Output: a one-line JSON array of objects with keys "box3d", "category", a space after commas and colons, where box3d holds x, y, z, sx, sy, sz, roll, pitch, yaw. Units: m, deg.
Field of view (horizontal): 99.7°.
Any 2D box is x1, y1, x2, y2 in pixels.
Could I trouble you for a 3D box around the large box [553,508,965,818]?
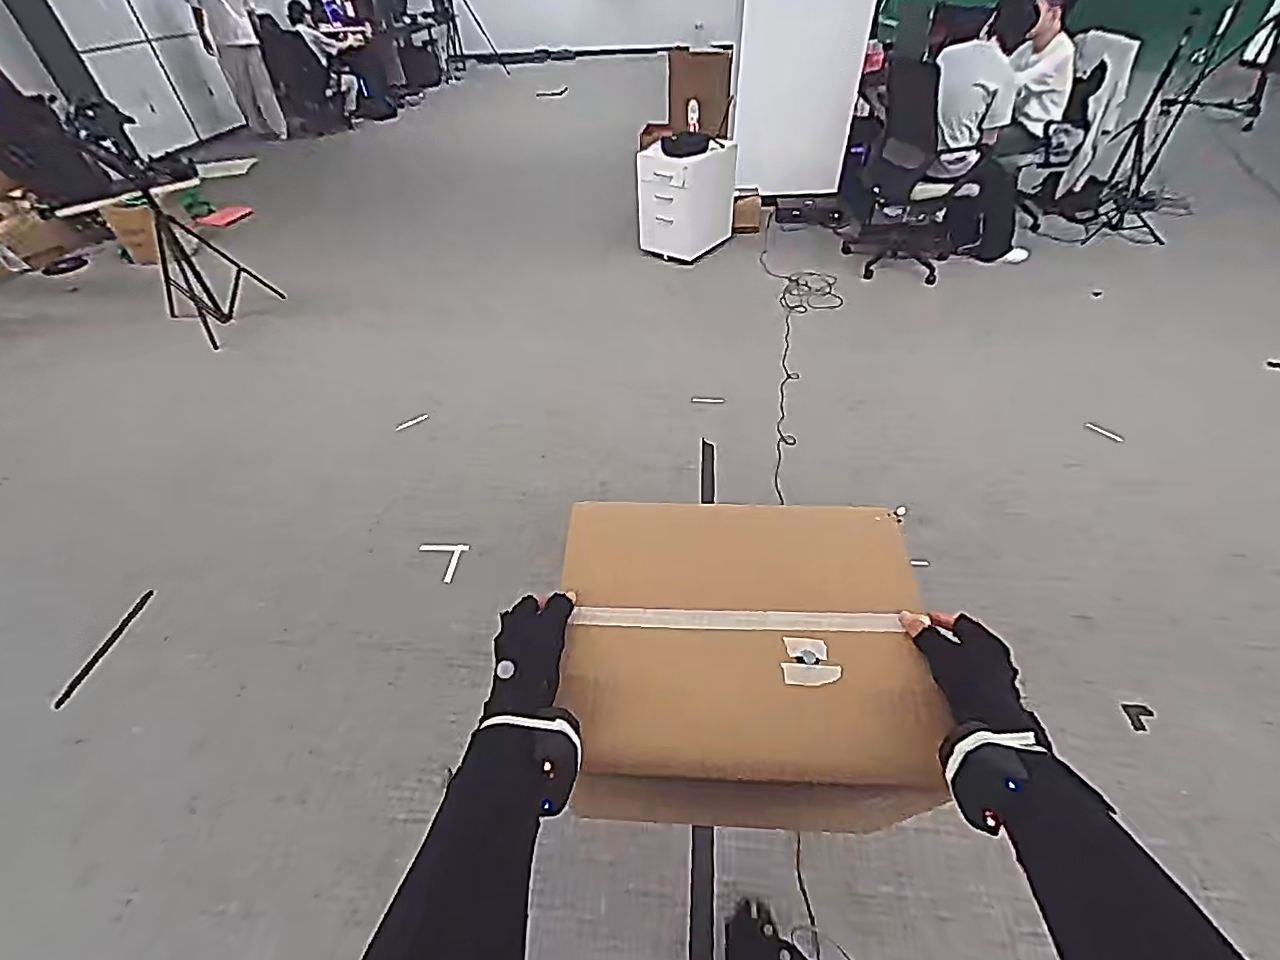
[{"box3d": [0.118, 0.250, 0.724, 0.408, 0.320, 0.320, 1, 52, 3], "category": "large box"}]
